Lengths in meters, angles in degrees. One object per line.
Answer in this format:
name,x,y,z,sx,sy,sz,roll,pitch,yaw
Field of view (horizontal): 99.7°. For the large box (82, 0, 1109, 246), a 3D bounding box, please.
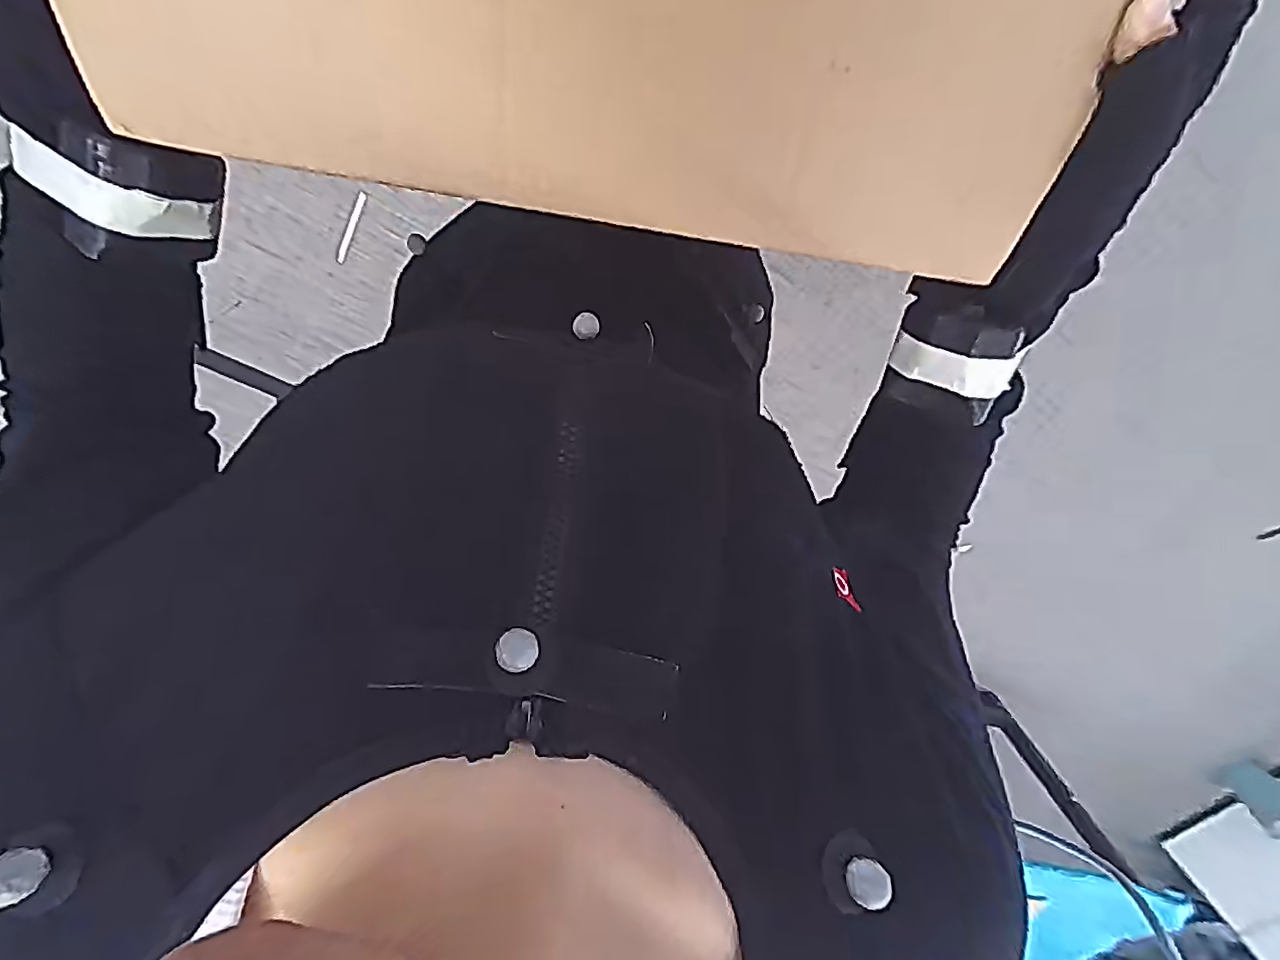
large box,-0.003,-0.348,0.262,0.408,0.320,0.320,6,132,-5
